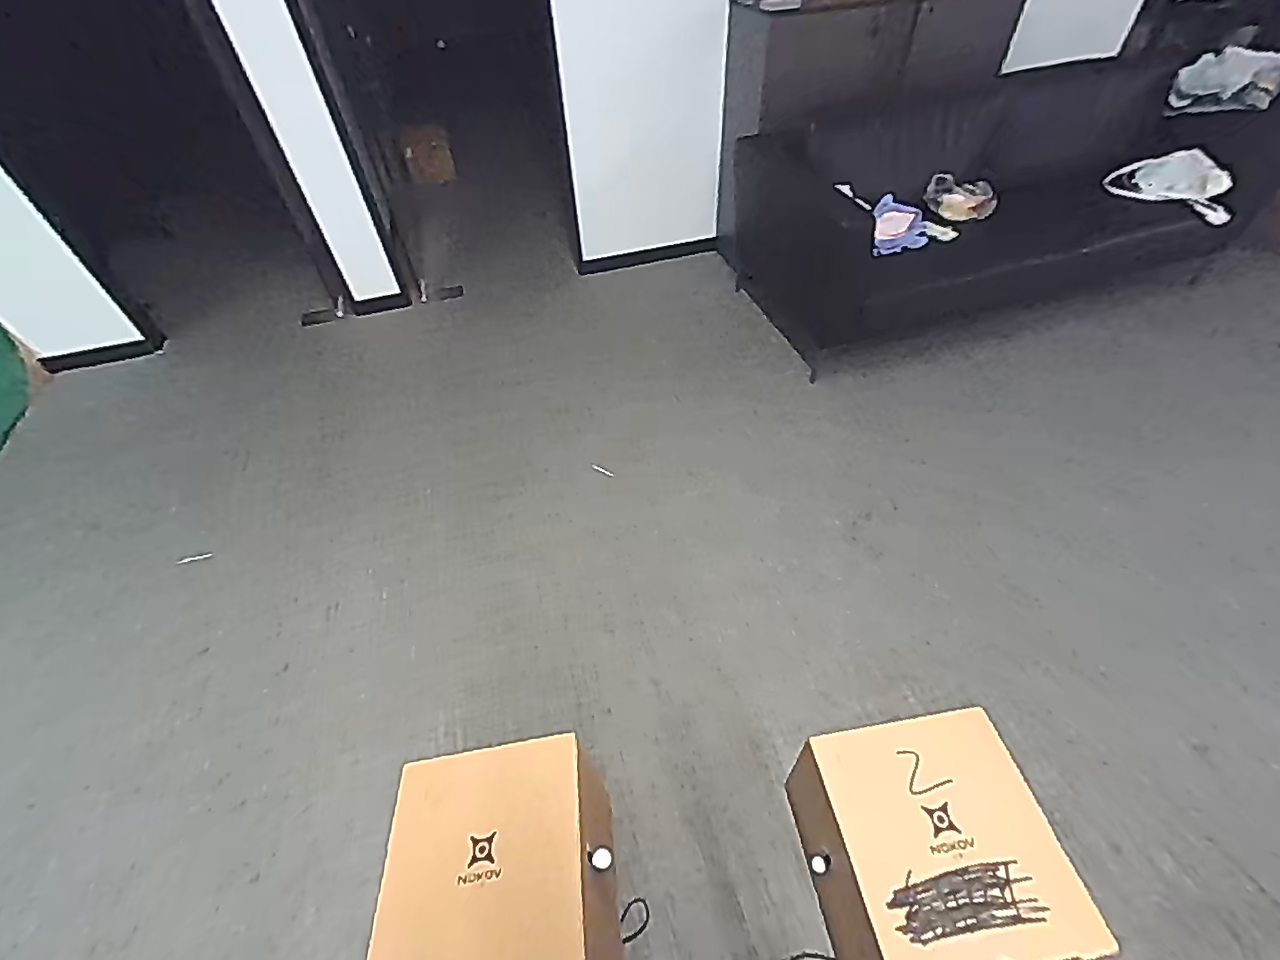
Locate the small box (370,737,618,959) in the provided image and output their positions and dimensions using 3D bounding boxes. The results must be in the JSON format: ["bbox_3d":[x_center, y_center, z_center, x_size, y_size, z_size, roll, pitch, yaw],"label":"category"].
[{"bbox_3d":[-0.119,0.372,0.502,0.168,0.176,0.179,-12,43,0],"label":"small box"}]
